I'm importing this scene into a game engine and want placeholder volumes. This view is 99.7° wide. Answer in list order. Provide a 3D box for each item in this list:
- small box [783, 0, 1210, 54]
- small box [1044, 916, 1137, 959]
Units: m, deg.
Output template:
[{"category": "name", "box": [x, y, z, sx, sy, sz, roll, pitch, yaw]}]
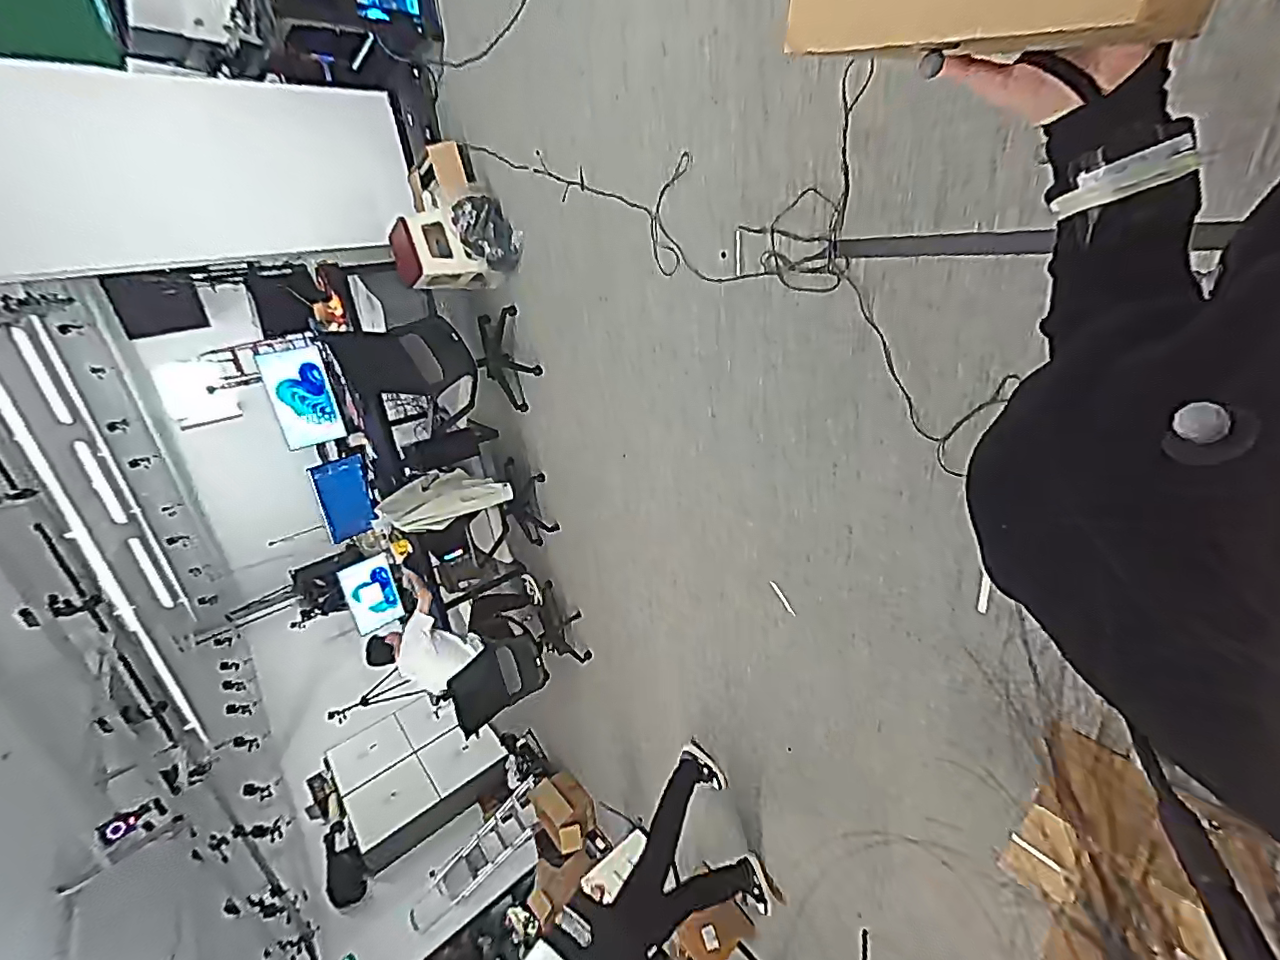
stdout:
[{"category": "small box", "box": [0.202, -0.326, 0.274, 0.179, 0.176, 0.168, 30, 137, 37]}, {"category": "small box", "box": [0.931, 1.055, 1.103, 0.168, 0.176, 0.179, 28, 130, 43]}]
